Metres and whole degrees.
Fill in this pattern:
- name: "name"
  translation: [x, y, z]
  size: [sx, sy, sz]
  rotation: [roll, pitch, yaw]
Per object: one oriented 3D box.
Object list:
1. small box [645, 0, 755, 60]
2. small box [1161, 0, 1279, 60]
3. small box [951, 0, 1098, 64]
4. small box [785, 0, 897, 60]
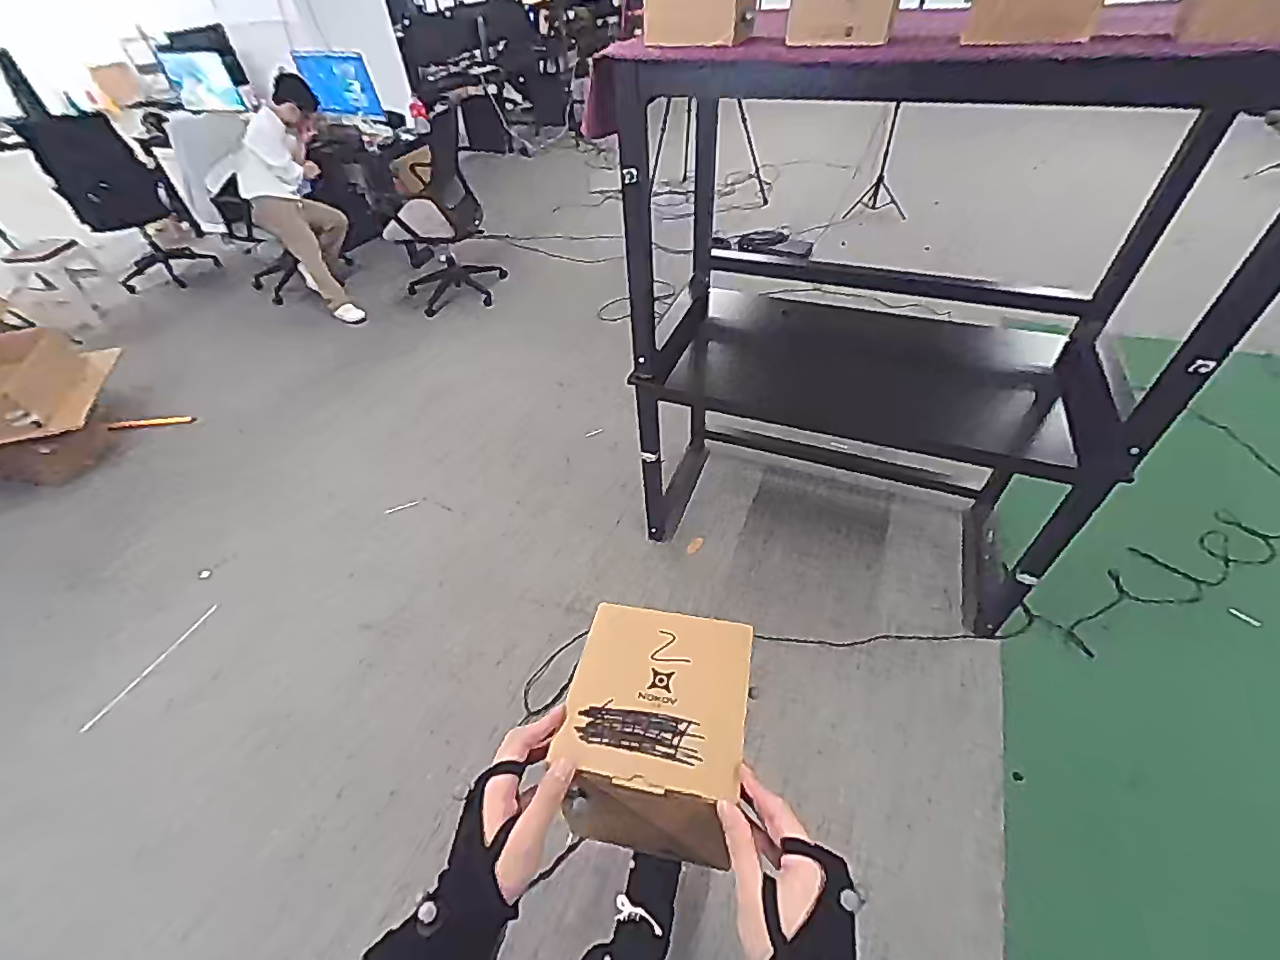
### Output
- name: "small box"
  translation: [0.113, -0.901, 1.013]
  size: [0.179, 0.176, 0.168]
  rotation: [15, 47, 17]
- name: "small box"
  translation: [0.875, -0.698, 0.749]
  size: [0.179, 0.176, 0.168]
  rotation: [17, 49, 21]
- name: "small box"
  translation: [0.614, -0.770, 0.845]
  size: [0.179, 0.176, 0.168]
  rotation: [14, 46, 20]
- name: "small box"
  translation: [0.354, -0.839, 0.932]
  size: [0.168, 0.176, 0.179]
  rotation: [14, 47, 18]
